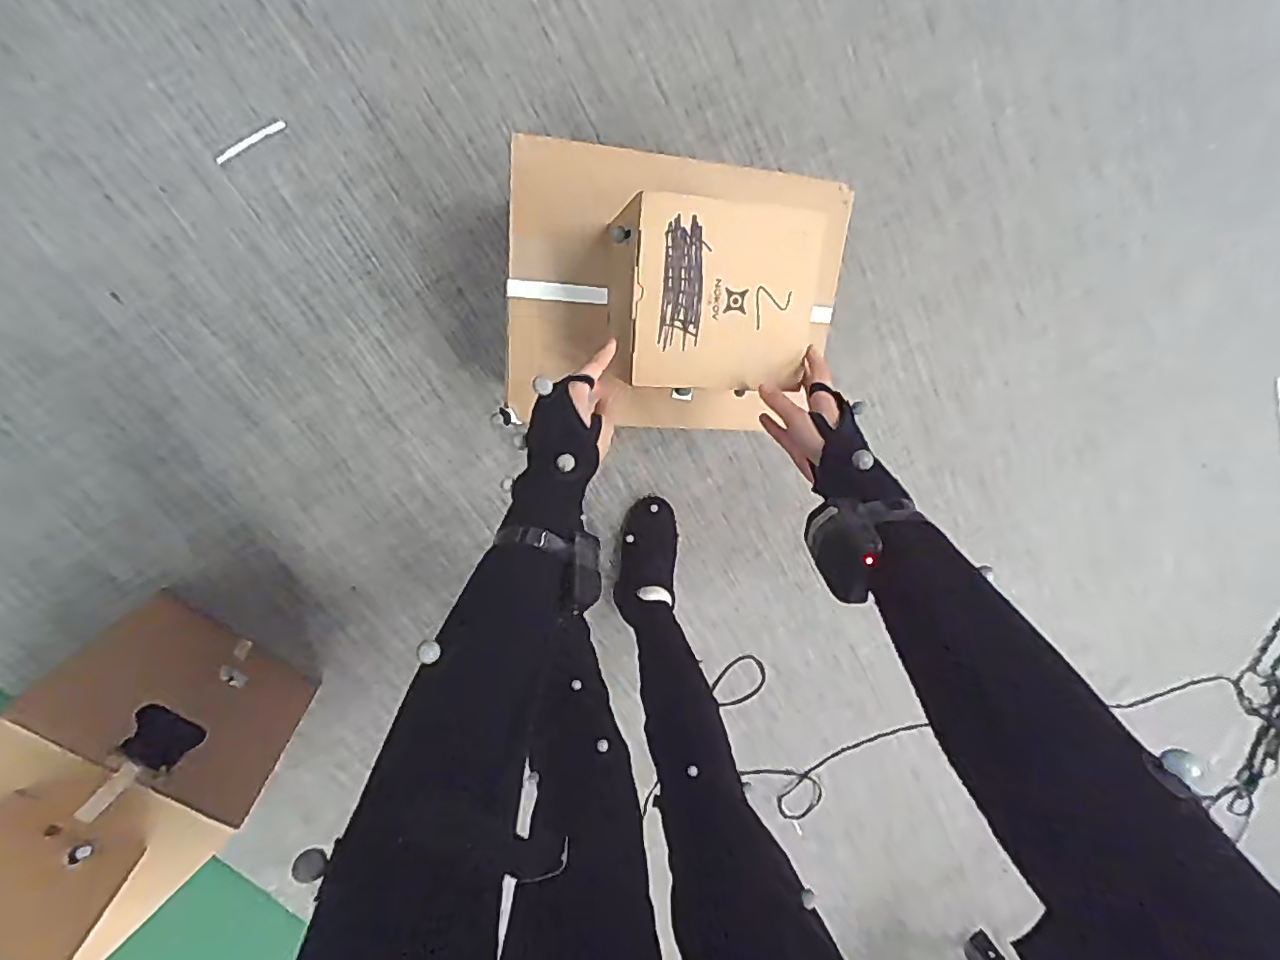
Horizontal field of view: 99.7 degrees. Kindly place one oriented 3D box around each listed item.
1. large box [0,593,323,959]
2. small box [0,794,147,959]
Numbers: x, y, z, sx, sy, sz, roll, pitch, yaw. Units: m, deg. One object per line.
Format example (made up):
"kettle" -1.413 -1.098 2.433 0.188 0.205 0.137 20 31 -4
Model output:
"large box" -0.807 0.466 0.853 0.408 0.320 0.320 -44 108 5
"small box" -0.742 0.515 0.621 0.179 0.176 0.168 -41 111 2
